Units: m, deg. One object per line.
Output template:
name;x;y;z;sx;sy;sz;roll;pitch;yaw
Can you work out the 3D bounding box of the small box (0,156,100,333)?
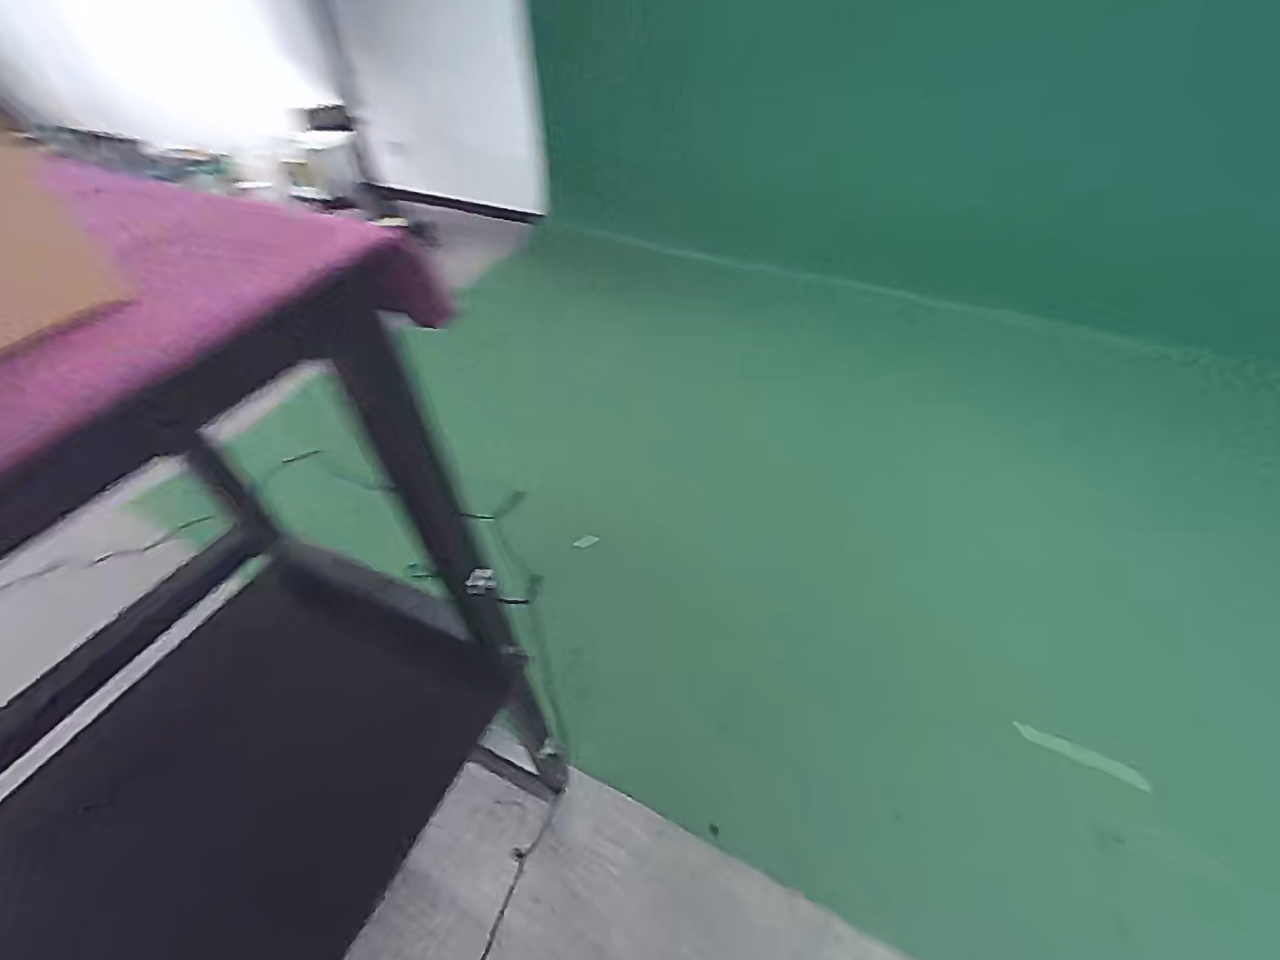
small box;-0.448;-0.145;0.261;0.168;0.176;0.179;18;50;19
